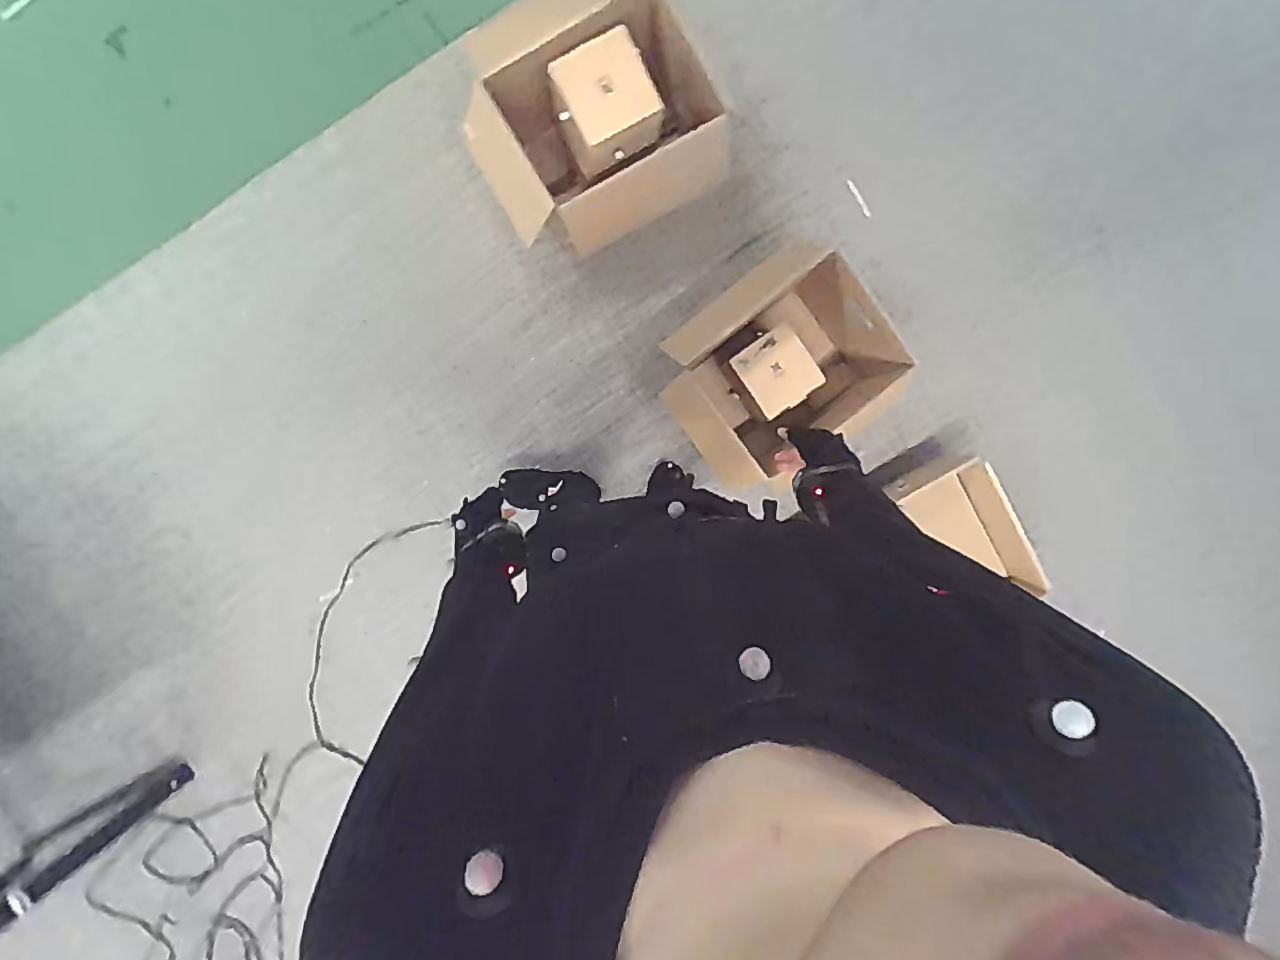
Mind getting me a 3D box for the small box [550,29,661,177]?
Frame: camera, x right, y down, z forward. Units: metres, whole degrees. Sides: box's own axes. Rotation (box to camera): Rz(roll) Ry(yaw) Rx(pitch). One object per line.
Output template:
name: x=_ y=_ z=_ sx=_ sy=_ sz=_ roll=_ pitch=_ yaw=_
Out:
small box: x=-0.069 y=-0.779 z=1.147 sx=0.168 sy=0.176 sz=0.179 roll=-28 pitch=95 yaw=0
